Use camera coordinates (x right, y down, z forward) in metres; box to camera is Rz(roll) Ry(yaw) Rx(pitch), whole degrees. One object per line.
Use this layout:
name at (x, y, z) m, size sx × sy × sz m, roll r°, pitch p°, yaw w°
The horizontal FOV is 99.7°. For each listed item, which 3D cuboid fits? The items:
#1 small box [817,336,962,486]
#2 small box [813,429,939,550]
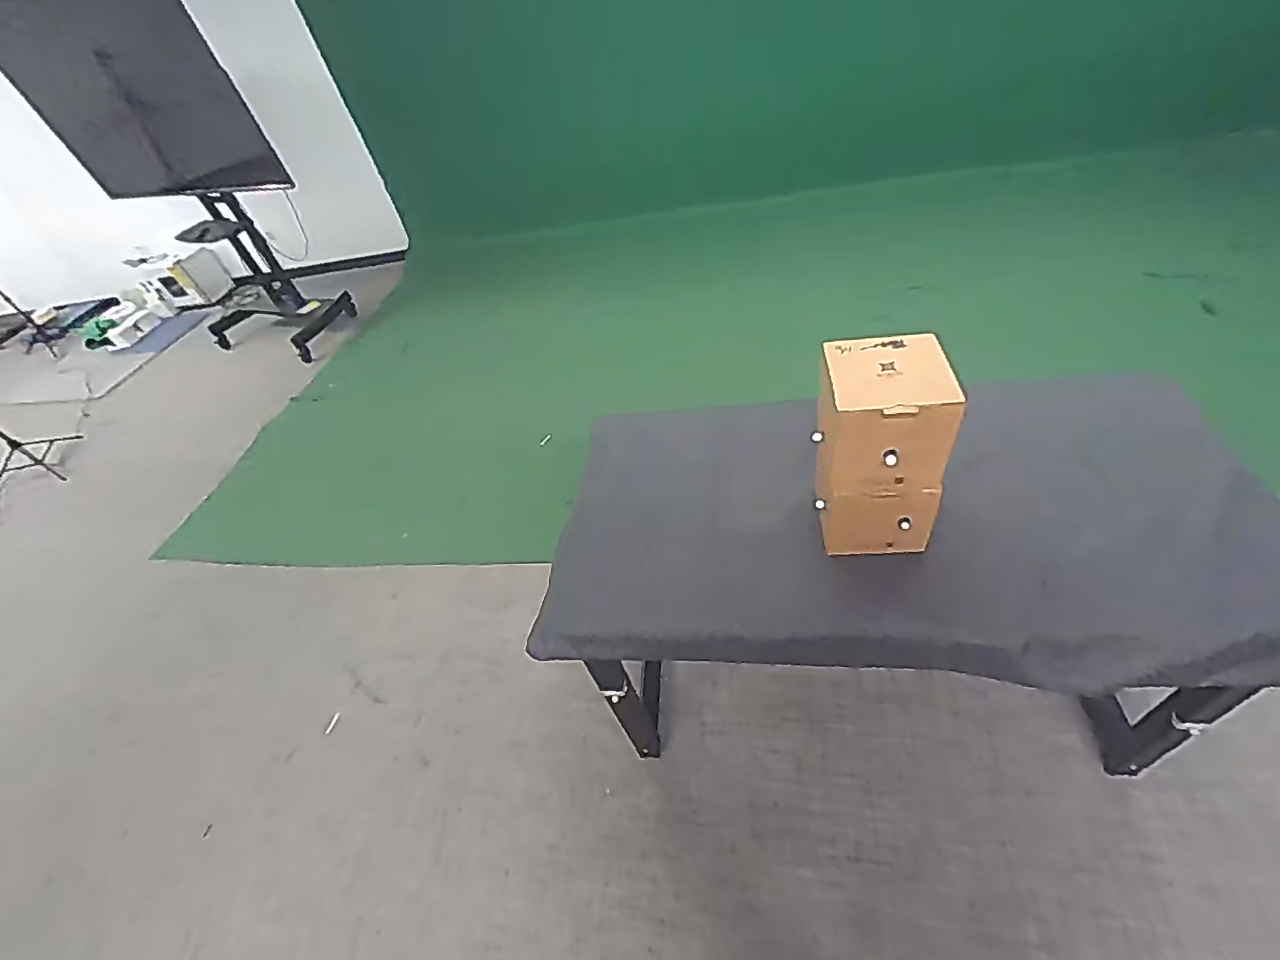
small box at (0.377, -0.102, 0.853) m, size 0.168 × 0.176 × 0.179 m, roll -1°, pitch 48°, yaw 11°
small box at (0.408, 0.013, 0.965) m, size 0.168 × 0.176 × 0.179 m, roll -3°, pitch 45°, yaw 10°
